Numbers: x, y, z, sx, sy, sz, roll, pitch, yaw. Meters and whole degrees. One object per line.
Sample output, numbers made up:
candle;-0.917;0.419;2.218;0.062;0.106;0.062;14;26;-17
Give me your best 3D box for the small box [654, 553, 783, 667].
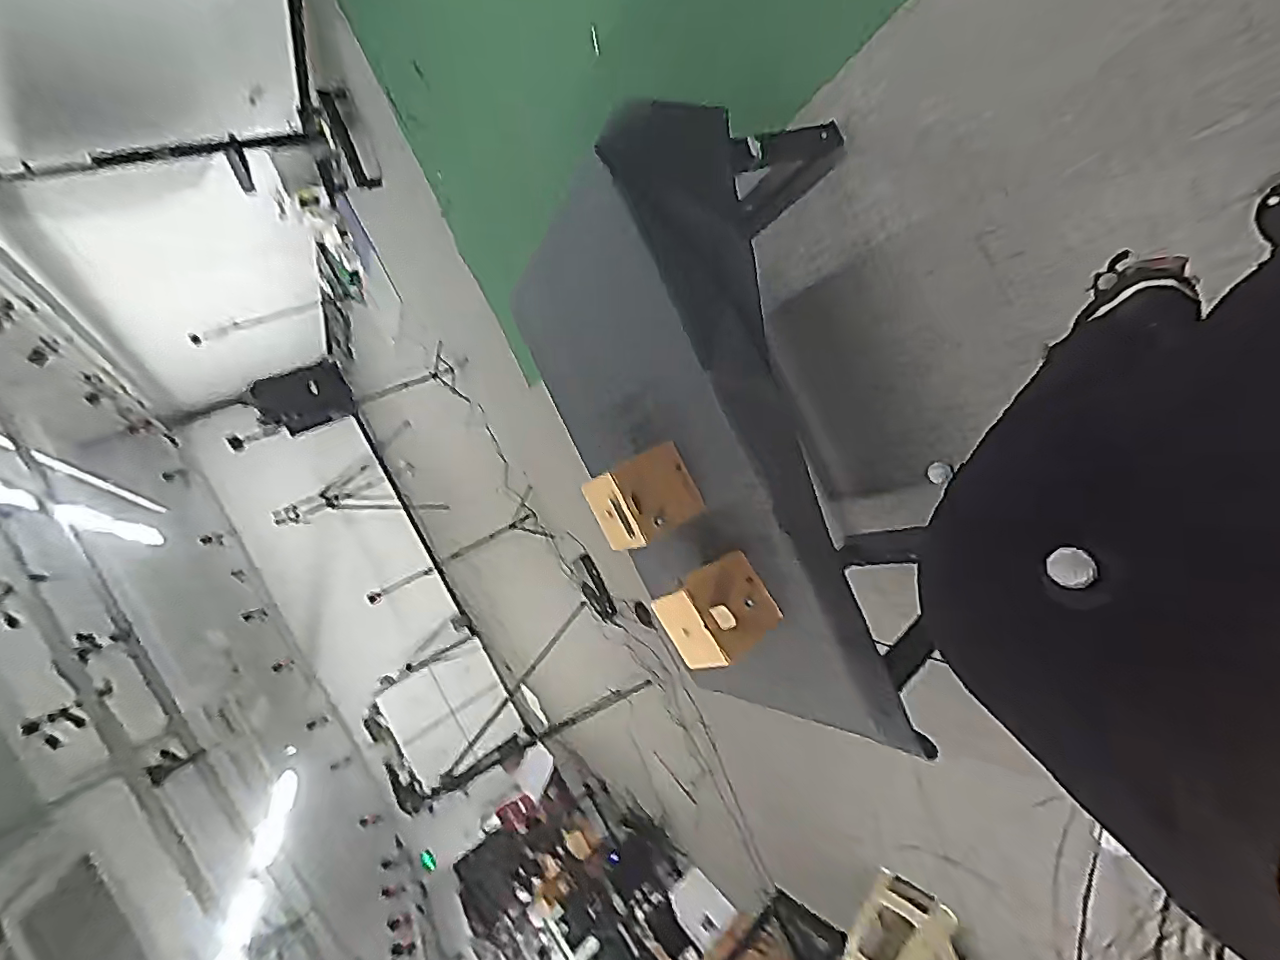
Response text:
small box;0.165;0.276;1.143;0.168;0.176;0.179;58;150;7
